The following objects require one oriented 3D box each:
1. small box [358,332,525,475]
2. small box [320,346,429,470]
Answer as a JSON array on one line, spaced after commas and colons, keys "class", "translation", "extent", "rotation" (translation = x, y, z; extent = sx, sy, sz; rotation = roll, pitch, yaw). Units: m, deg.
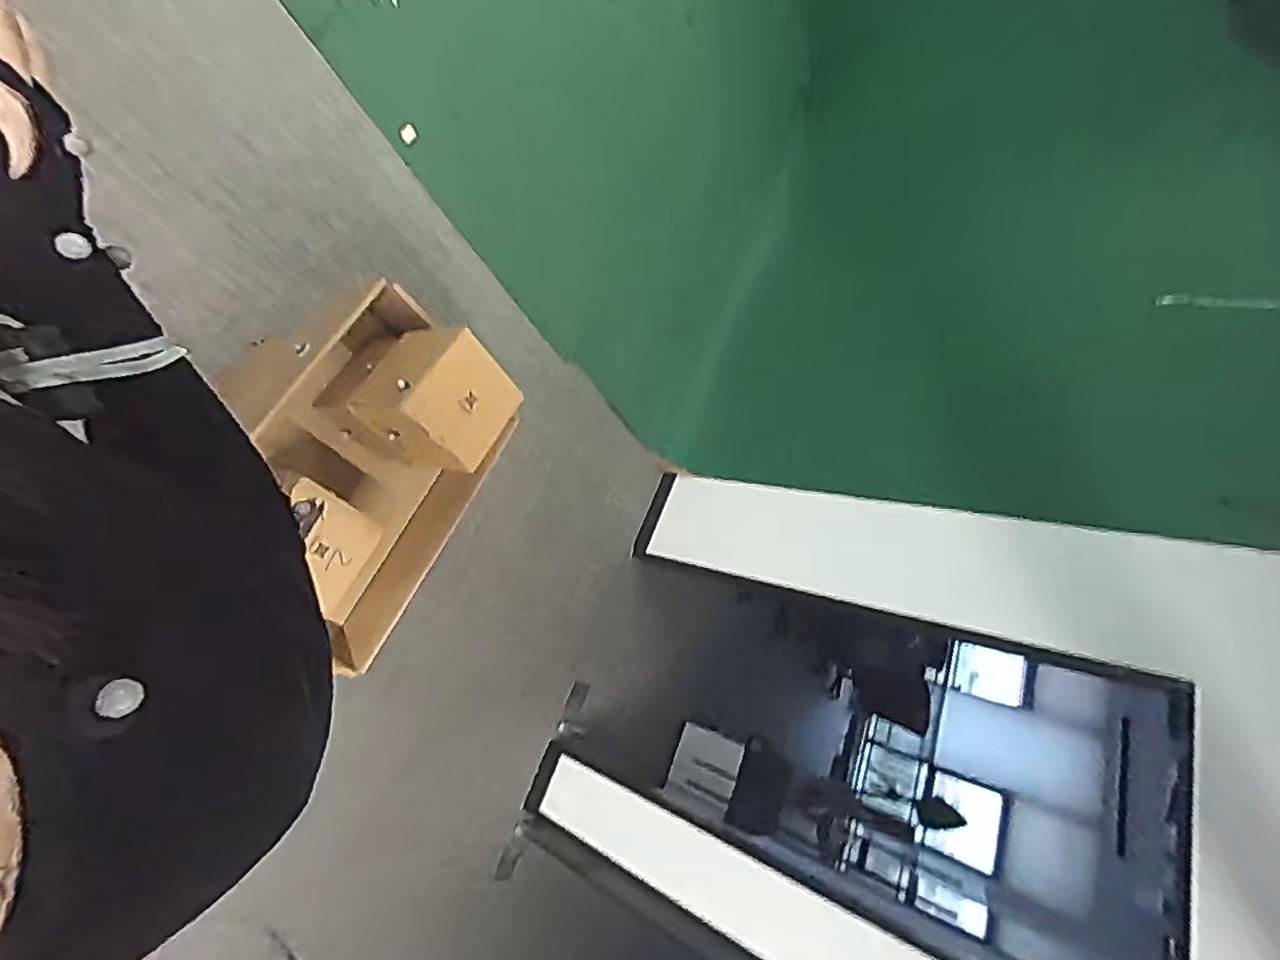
[{"class": "small box", "translation": [-0.339, -0.133, 0.926], "extent": [0.179, 0.176, 0.168], "rotation": [-62, 140, -24]}, {"class": "small box", "translation": [-0.464, -0.142, 1.031], "extent": [0.168, 0.176, 0.179], "rotation": [53, 56, -45]}]
